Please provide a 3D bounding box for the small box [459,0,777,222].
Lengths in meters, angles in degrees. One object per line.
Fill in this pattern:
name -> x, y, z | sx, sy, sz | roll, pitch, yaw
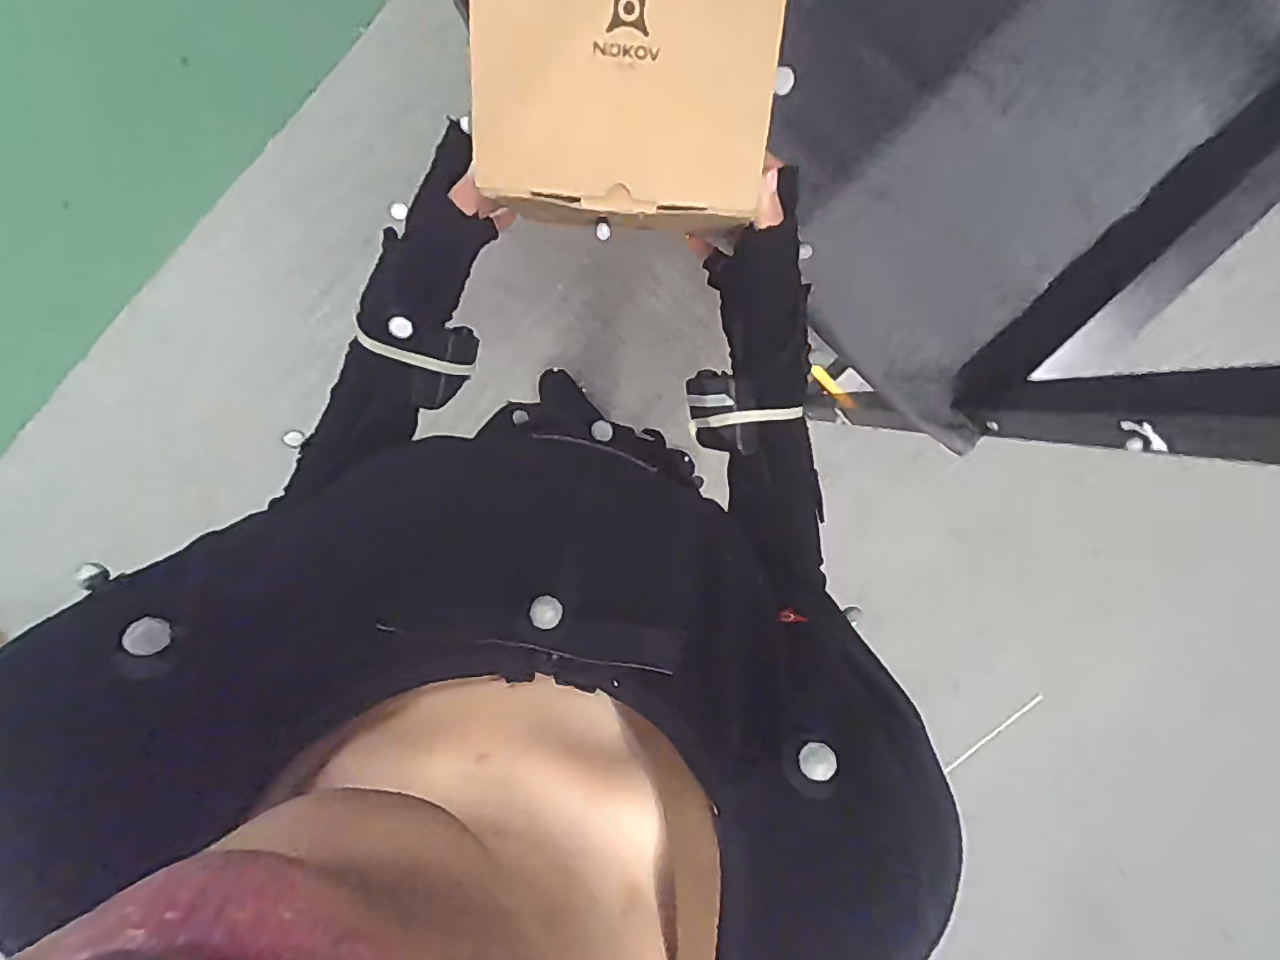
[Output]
small box -> -0.013, -0.276, 0.350 | 0.168, 0.176, 0.179 | 3, 111, -2
